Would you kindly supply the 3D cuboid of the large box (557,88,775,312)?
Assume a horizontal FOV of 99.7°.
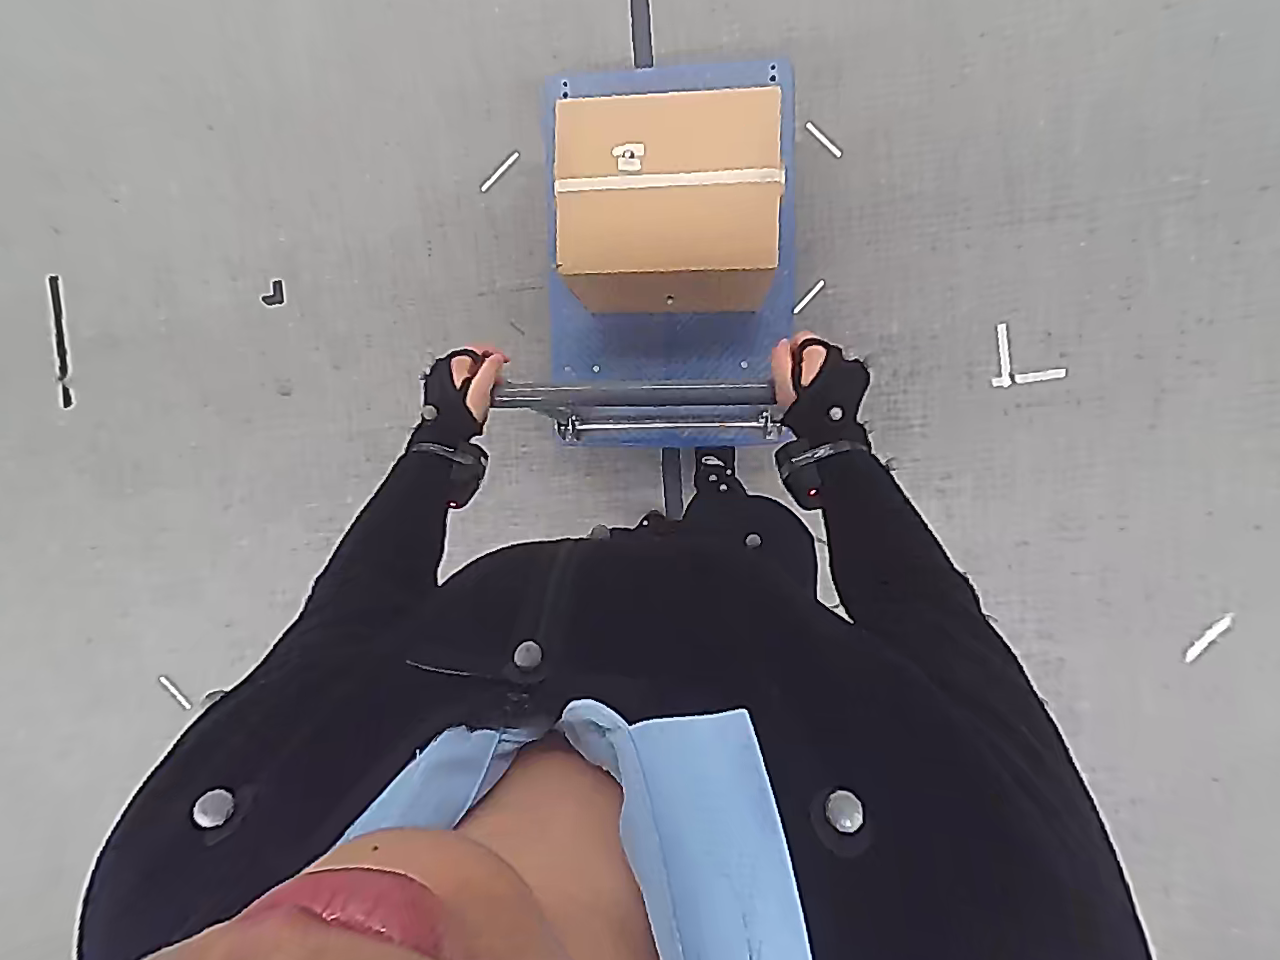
[{"bbox_3d":[0.064,-0.548,1.133,0.408,0.320,0.320,1,93,7],"label":"large box"}]
